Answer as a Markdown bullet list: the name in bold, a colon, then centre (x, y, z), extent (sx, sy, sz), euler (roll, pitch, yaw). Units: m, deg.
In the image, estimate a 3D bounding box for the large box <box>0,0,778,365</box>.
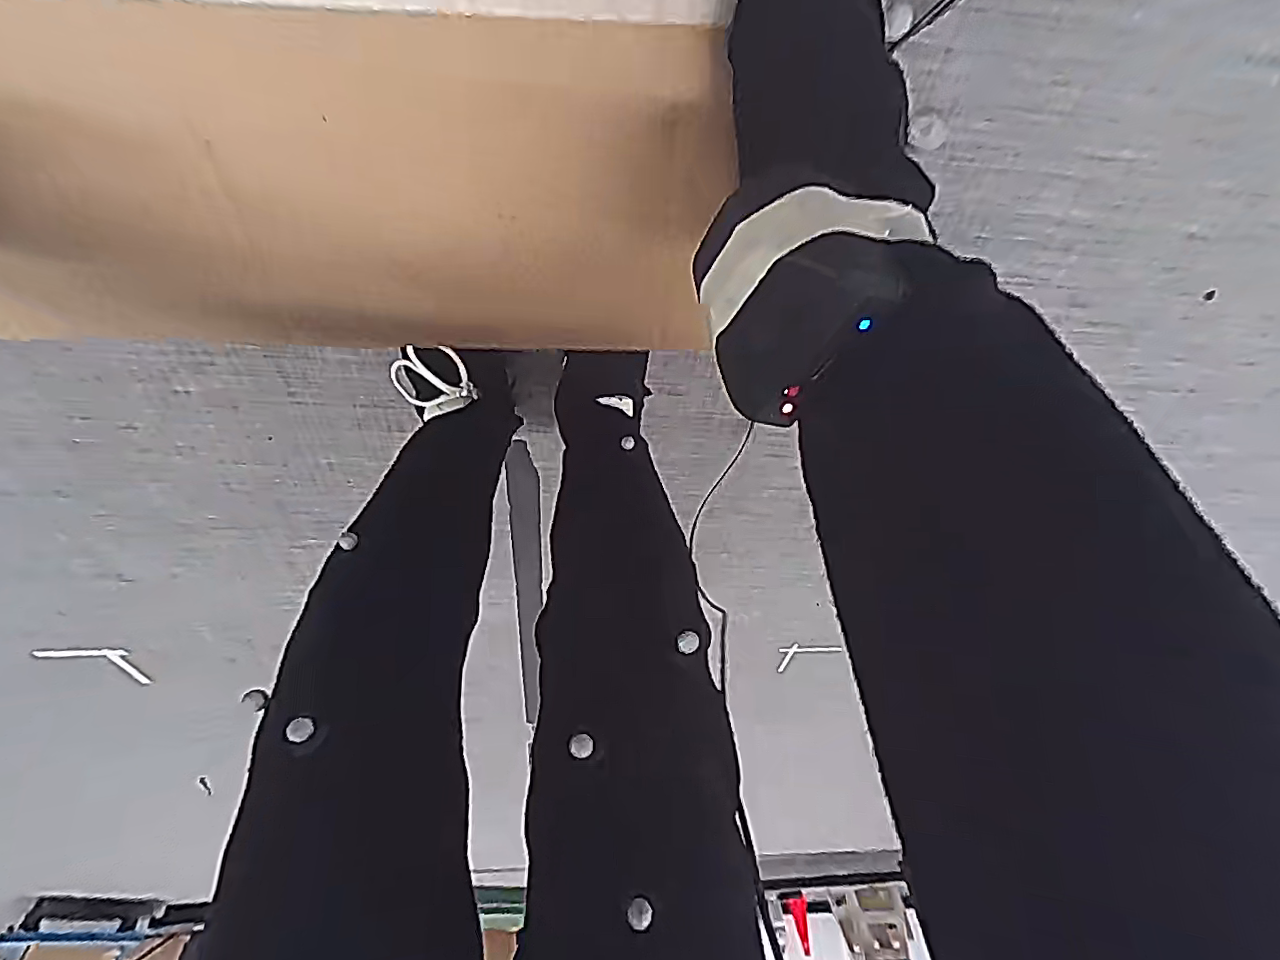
- **large box**: centre (-0.151, -0.280, 0.307), extent (0.408, 0.320, 0.320), euler (0, 134, -4)
